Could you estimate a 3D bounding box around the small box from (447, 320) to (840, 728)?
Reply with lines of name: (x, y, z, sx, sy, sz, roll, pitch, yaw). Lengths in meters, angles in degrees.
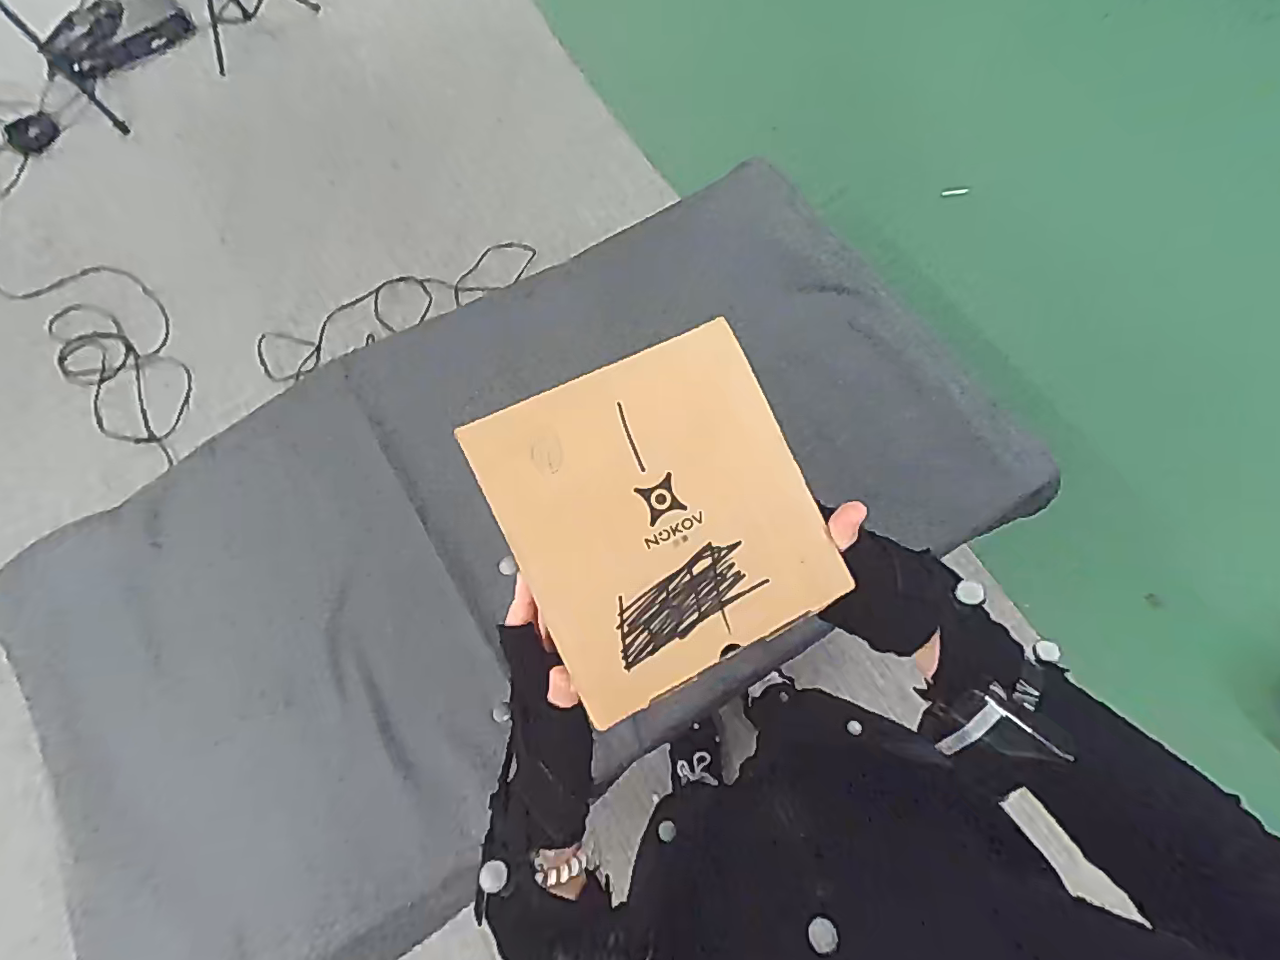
small box: (-0.005, 0.024, 0.370, 0.168, 0.176, 0.179, -25, 90, -11)
